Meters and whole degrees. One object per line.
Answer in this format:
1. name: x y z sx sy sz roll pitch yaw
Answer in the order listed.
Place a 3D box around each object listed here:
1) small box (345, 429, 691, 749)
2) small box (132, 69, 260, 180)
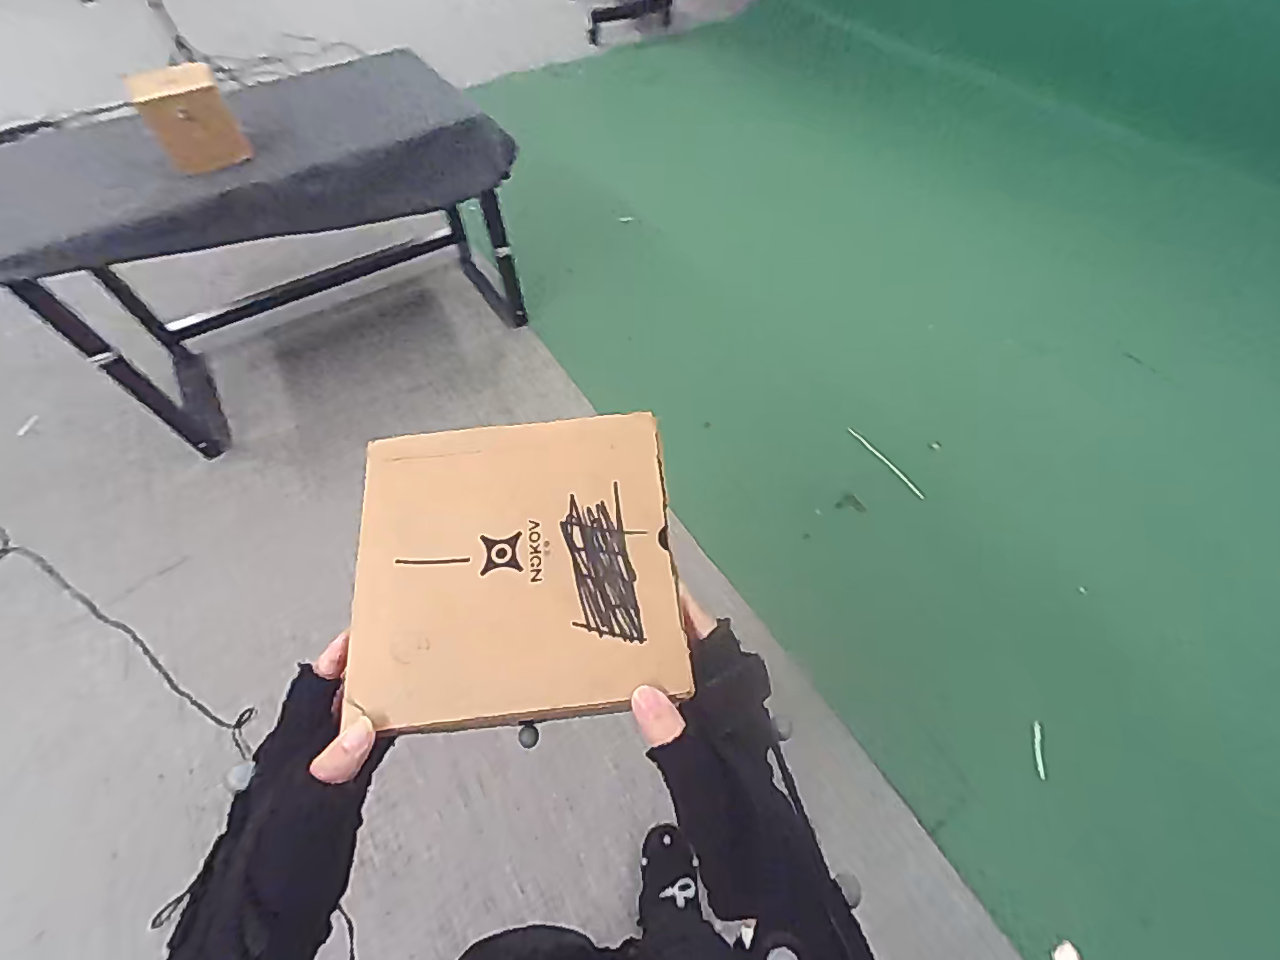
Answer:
1. small box: -0.070 0.081 0.375 0.179 0.176 0.168 -6 66 -3
2. small box: -1.091 -0.873 1.336 0.179 0.176 0.168 -28 61 -17
